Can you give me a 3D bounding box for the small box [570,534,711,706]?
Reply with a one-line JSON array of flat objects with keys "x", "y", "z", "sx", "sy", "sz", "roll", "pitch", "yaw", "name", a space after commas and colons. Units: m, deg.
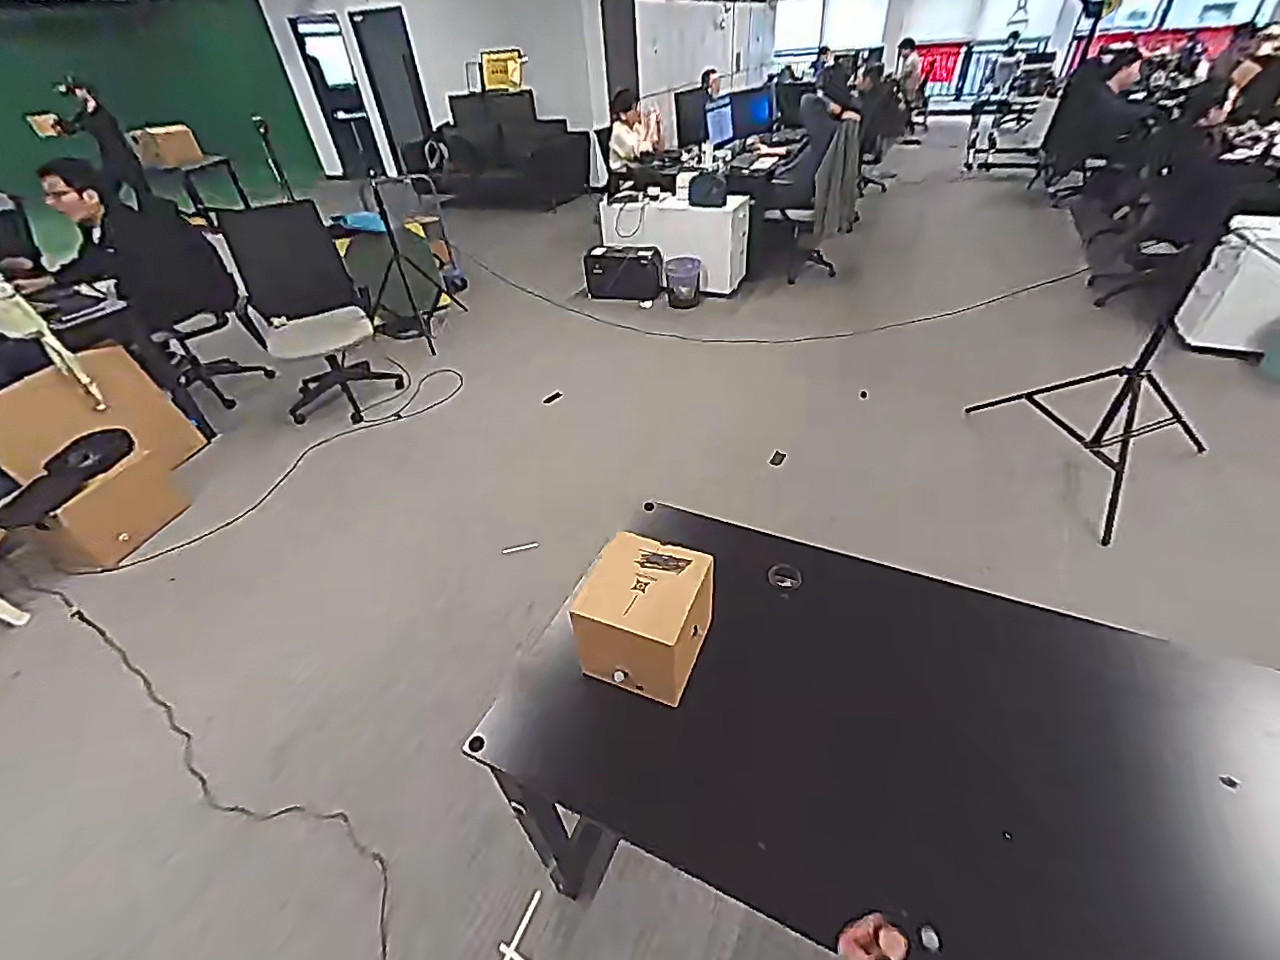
[{"x": 0.007, "y": 0.220, "z": 0.863, "sx": 0.168, "sy": 0.176, "sz": 0.179, "roll": 13, "pitch": 43, "yaw": 20, "name": "small box"}]
